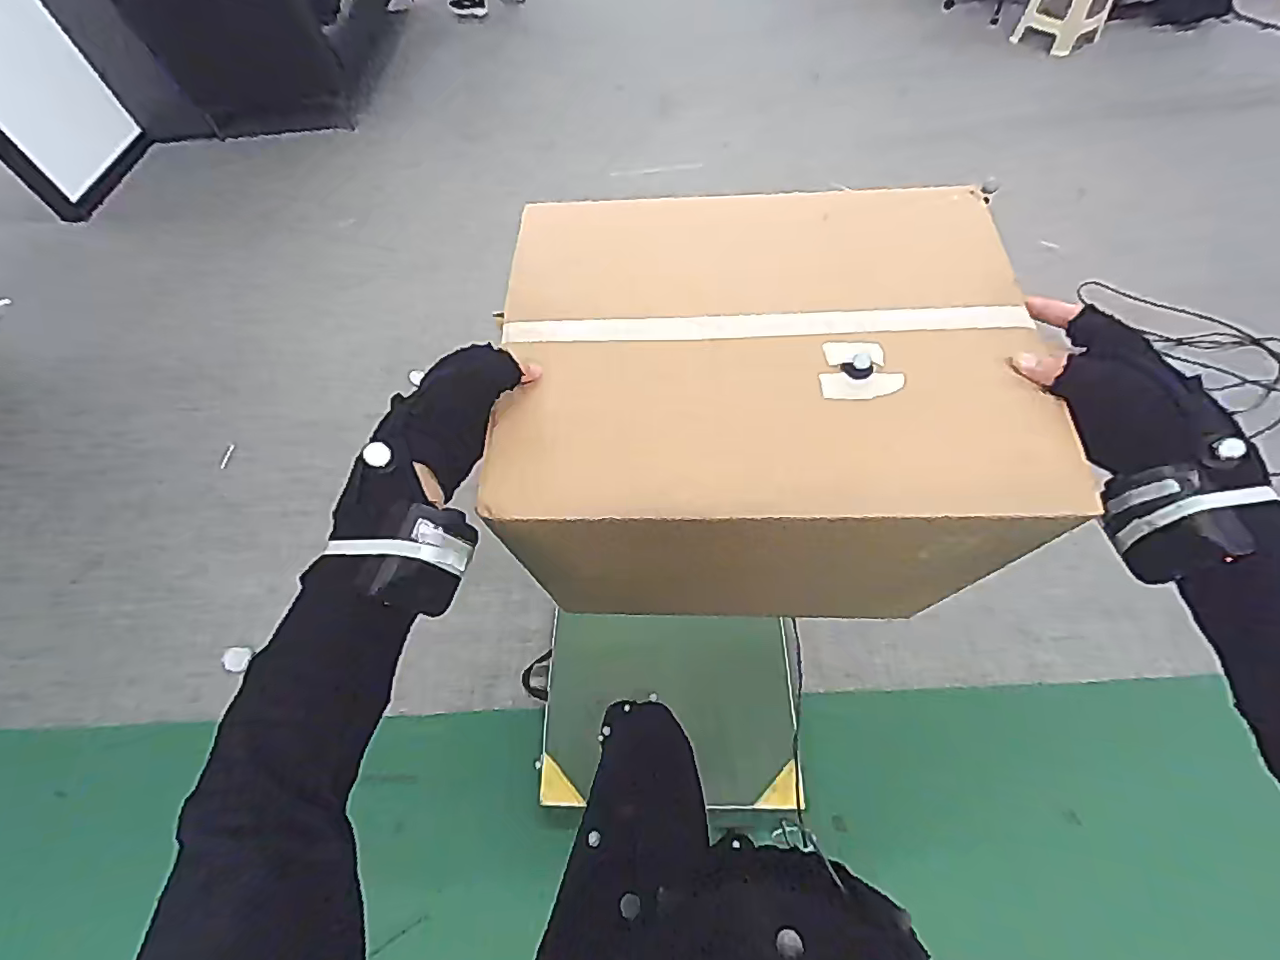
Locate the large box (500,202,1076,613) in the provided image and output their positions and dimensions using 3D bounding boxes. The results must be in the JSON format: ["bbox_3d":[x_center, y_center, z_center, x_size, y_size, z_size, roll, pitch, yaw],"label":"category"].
[{"bbox_3d":[0.103,-0.049,0.569,0.408,0.320,0.320,0,64,3],"label":"large box"}]
